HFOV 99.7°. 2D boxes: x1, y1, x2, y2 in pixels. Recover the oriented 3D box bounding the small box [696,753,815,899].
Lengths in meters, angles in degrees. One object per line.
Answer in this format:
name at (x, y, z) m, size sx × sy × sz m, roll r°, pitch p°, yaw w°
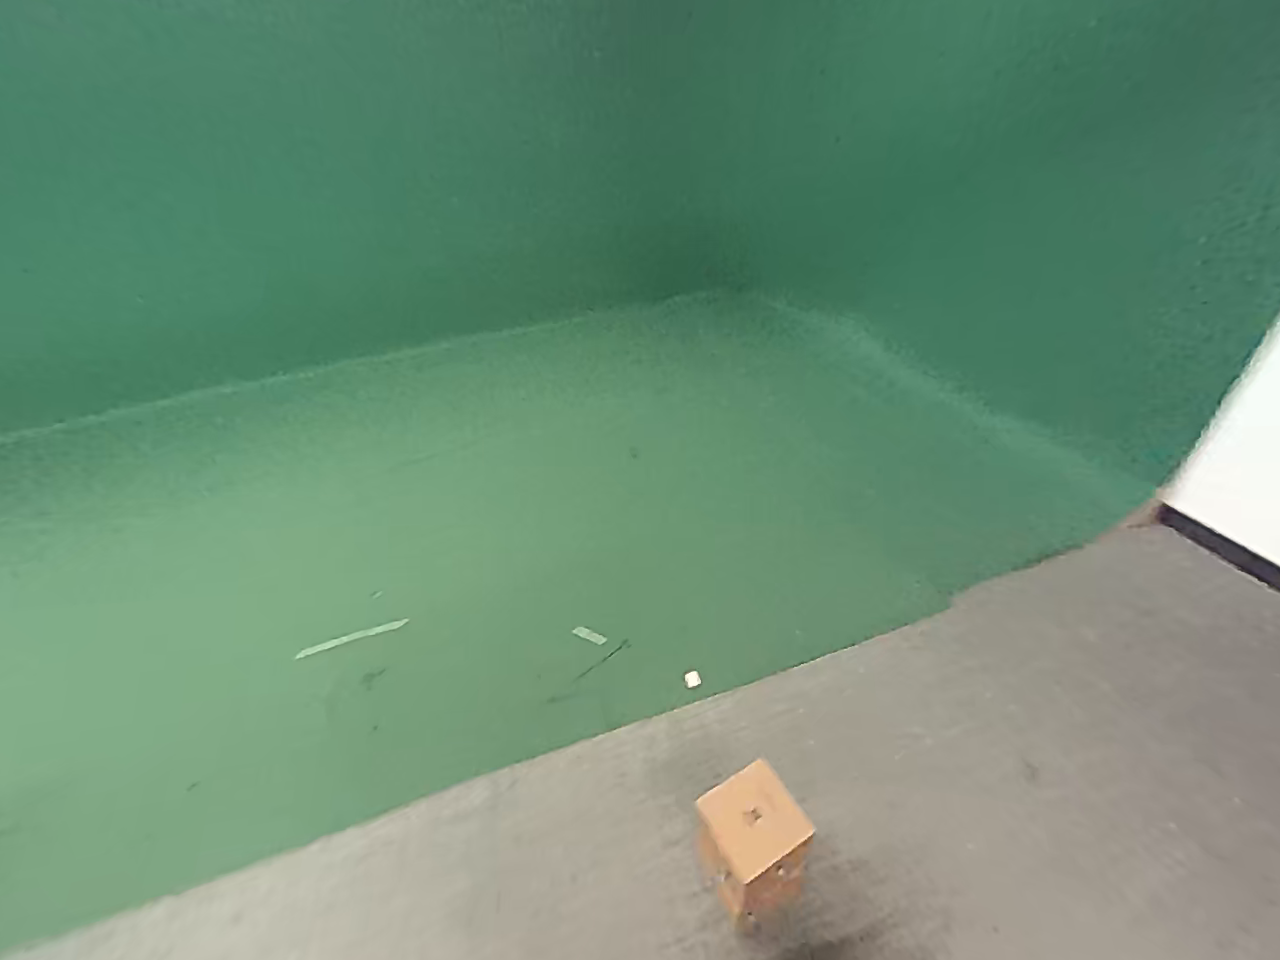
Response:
small box at (0.234, 0.716, 1.116) m, size 0.179 × 0.176 × 0.168 m, roll -22°, pitch 41°, yaw -19°
